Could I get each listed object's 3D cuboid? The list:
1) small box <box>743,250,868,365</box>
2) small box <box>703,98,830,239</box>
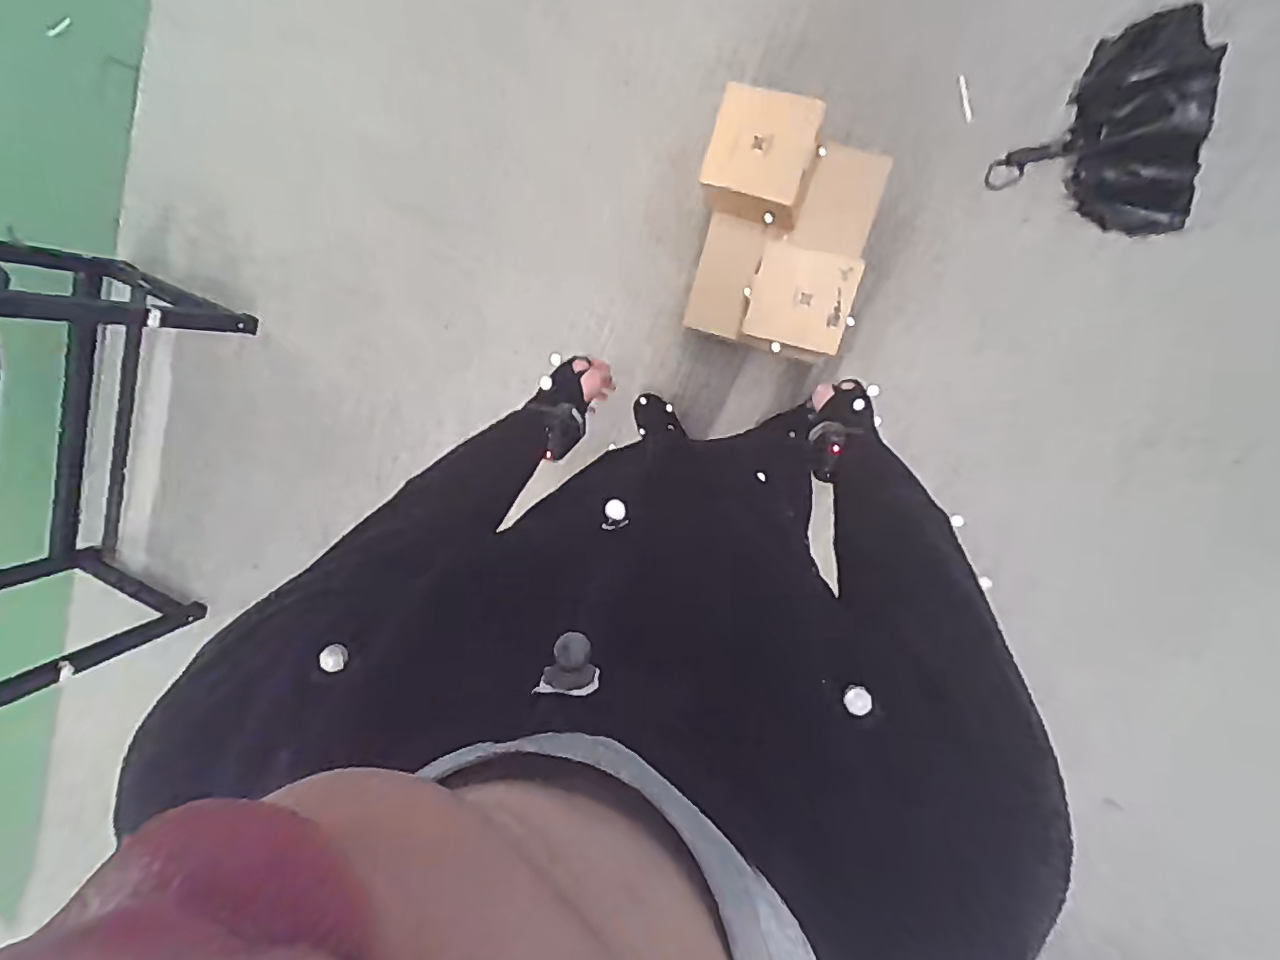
[{"bbox_3d":[0.308,-0.320,1.034,0.179,0.176,0.168,17,103,10],"label":"small box"},{"bbox_3d":[0.239,-0.569,1.010,0.179,0.176,0.168,21,103,14],"label":"small box"}]
